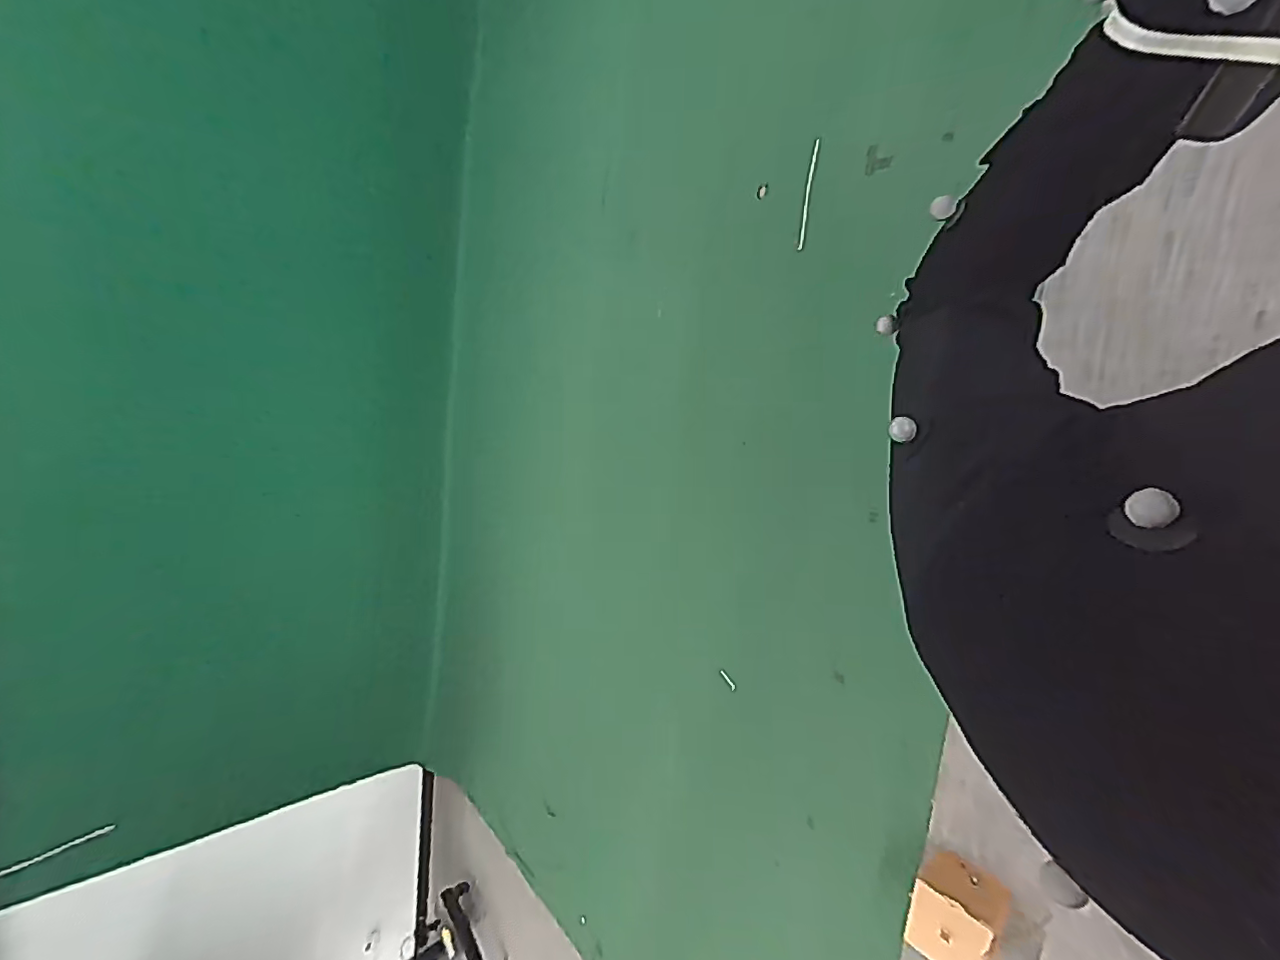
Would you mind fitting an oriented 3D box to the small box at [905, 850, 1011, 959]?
[{"bbox_3d":[0.768,1.052,1.301,0.168,0.176,0.179,15,101,45],"label":"small box"}]
